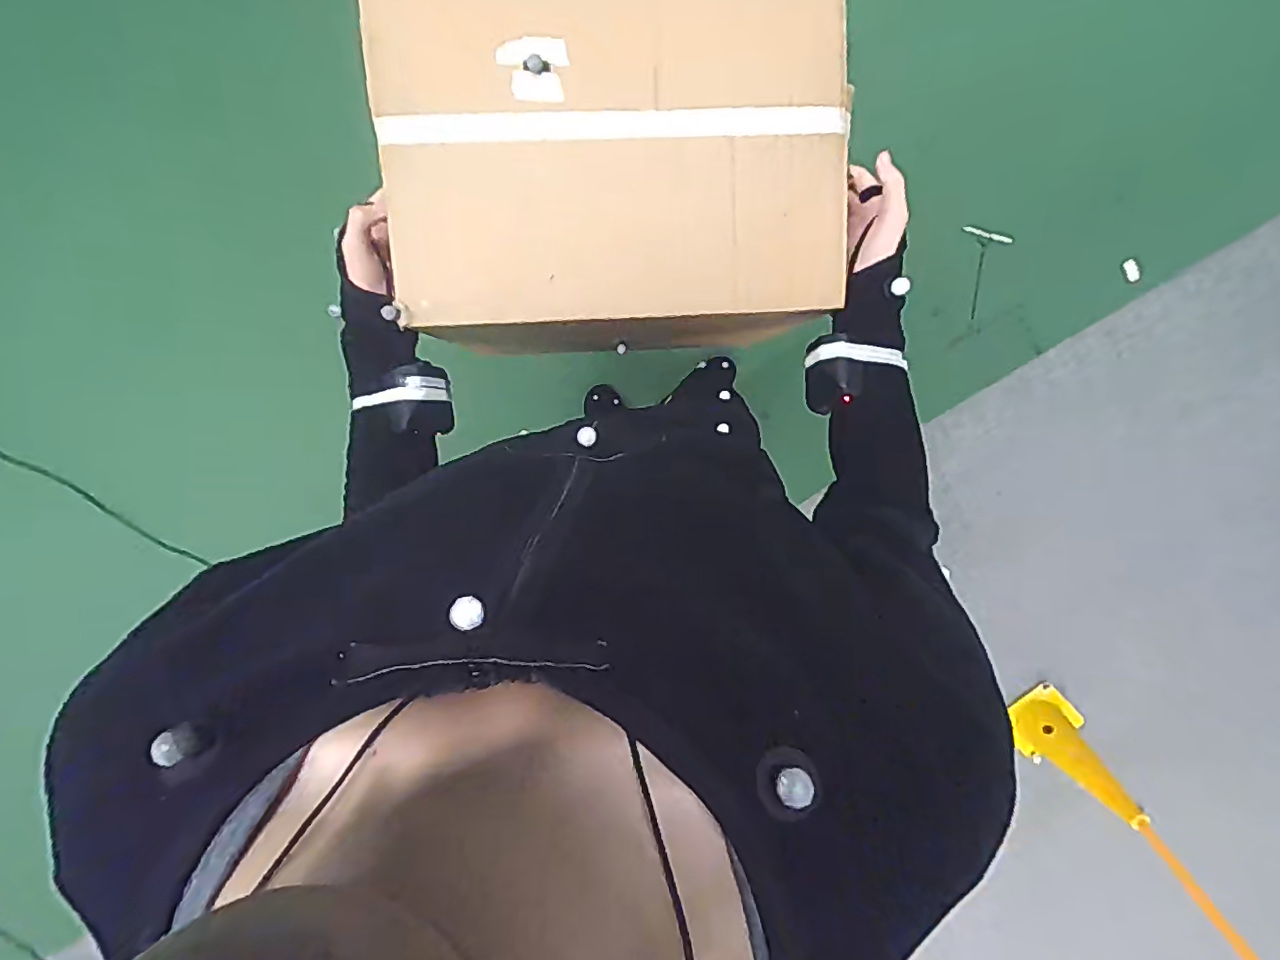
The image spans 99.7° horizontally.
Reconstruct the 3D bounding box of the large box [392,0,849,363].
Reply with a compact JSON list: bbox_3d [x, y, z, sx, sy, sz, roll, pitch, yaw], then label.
[{"bbox_3d":[-0.015,-0.307,0.633,0.408,0.320,0.320,-2,97,-3],"label":"large box"}]
